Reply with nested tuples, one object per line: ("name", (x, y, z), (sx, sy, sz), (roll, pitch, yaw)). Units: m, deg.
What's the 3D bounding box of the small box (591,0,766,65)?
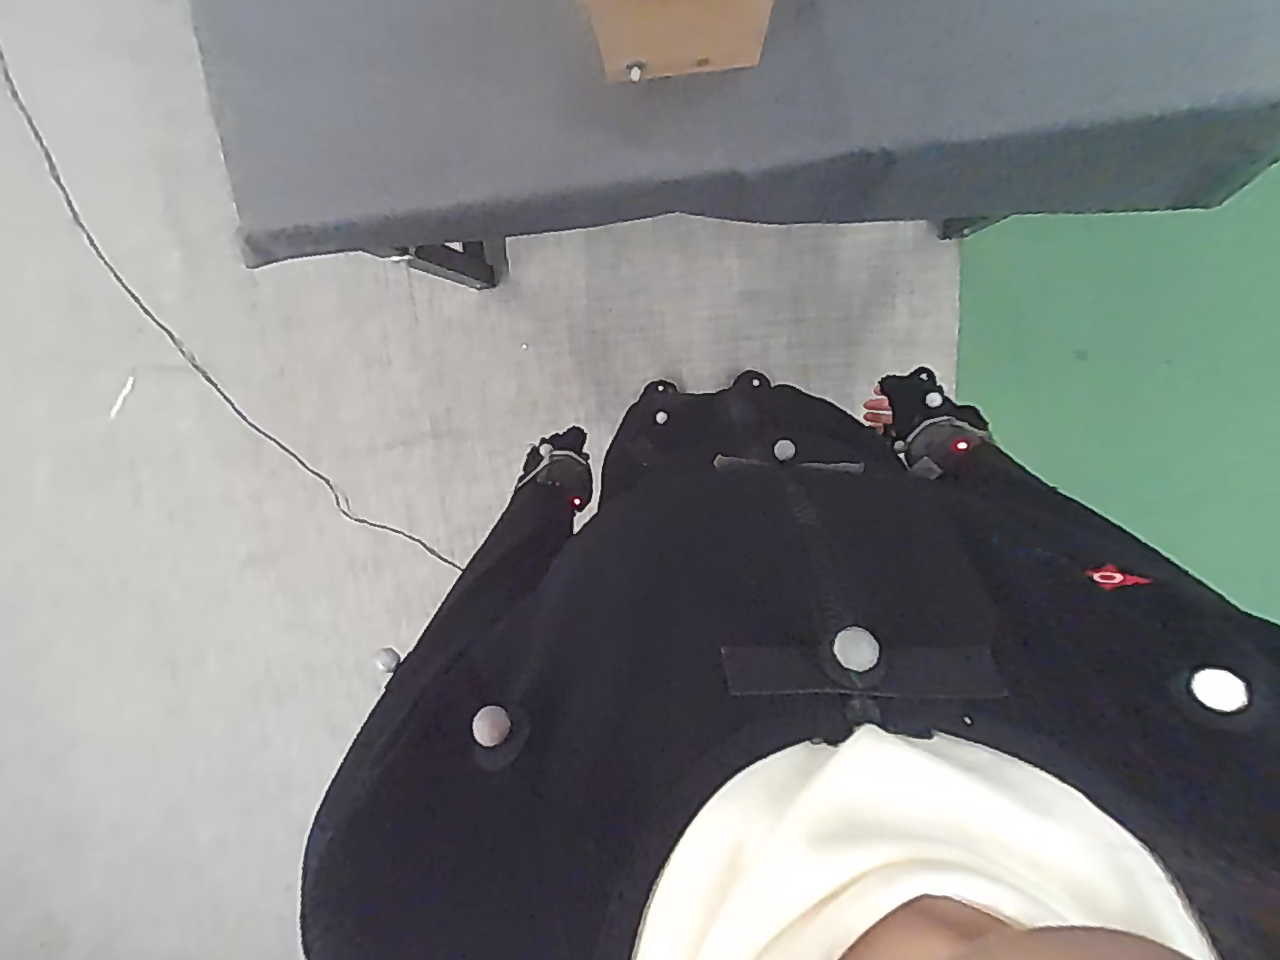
("small box", (0.035, -0.522, 0.500), (0.168, 0.176, 0.179), (-3, 101, 5))
